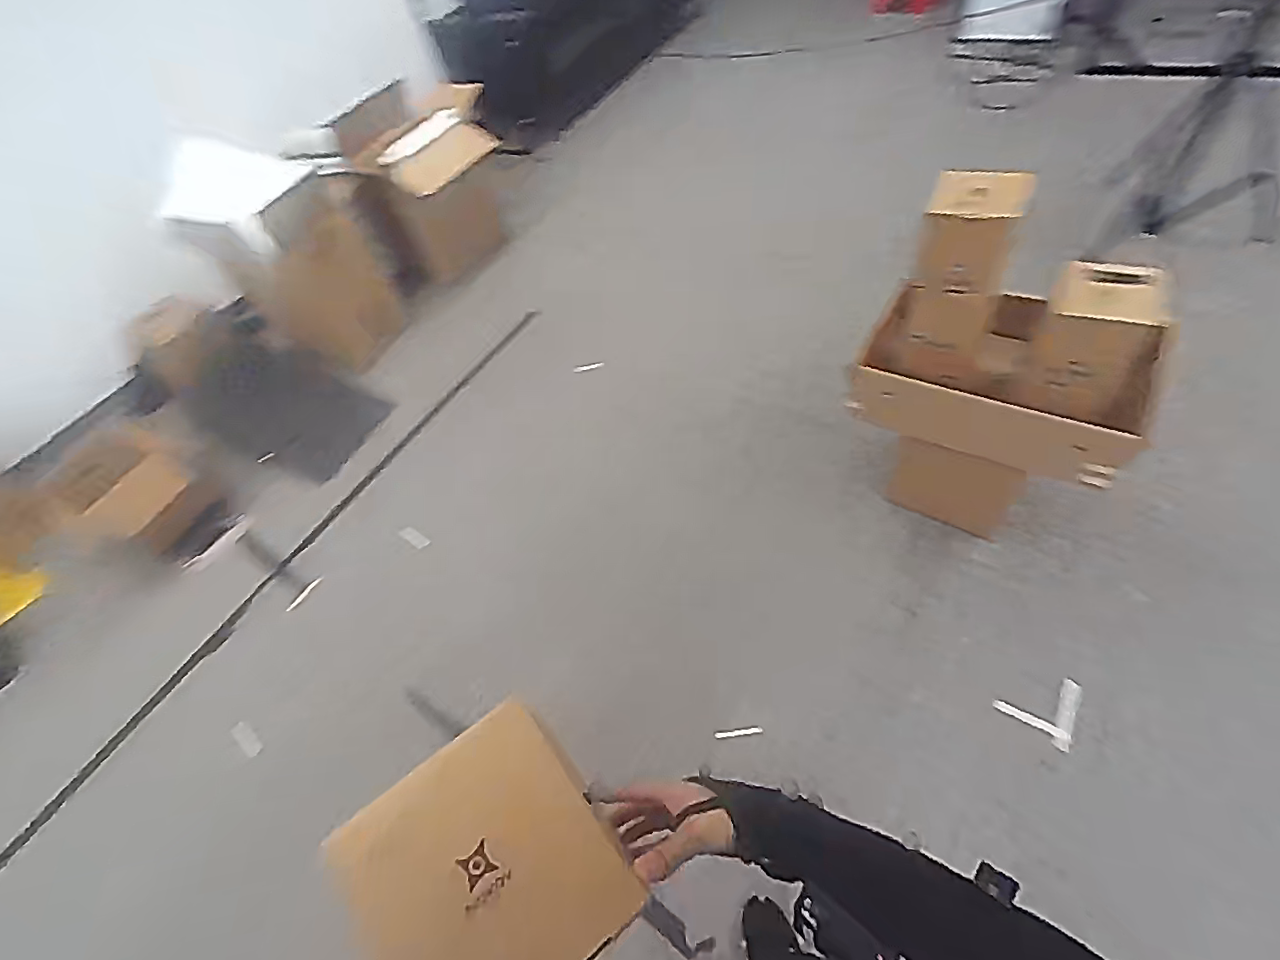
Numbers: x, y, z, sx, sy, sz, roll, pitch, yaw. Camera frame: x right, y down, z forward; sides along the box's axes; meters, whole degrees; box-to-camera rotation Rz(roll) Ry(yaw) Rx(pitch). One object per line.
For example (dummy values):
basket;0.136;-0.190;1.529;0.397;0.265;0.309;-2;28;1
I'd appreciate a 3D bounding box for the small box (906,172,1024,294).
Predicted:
small box;0.685;-0.527;1.152;0.168;0.176;0.179;18;60;26

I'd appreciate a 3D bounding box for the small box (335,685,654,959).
small box;-0.105;0.307;0.445;0.168;0.176;0.179;-33;64;-18

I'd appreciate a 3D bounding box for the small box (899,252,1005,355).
small box;0.726;-0.421;1.274;0.168;0.176;0.179;20;61;26
